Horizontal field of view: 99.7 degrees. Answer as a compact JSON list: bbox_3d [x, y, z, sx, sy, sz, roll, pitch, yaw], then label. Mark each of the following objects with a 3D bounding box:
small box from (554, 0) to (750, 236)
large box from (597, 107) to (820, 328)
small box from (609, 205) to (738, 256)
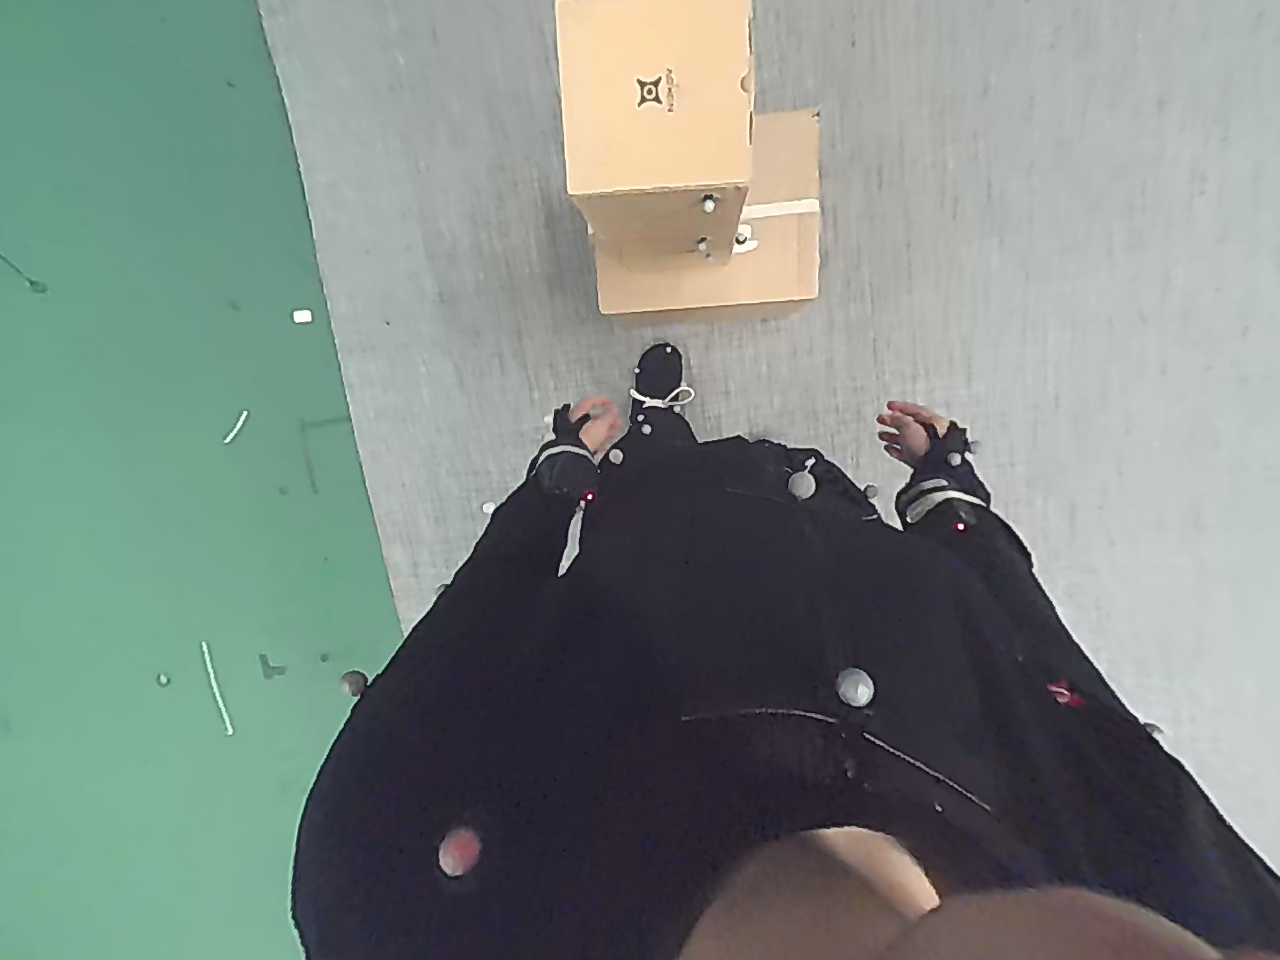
[{"bbox_3d":[0.019,-0.365,0.566,0.179,0.176,0.168,-2,100,5],"label":"small box"},{"bbox_3d":[0.127,-0.500,1.112,0.408,0.320,0.320,-3,102,6],"label":"large box"},{"bbox_3d":[0.040,-0.408,0.722,0.168,0.176,0.179,-4,100,5],"label":"small box"}]
